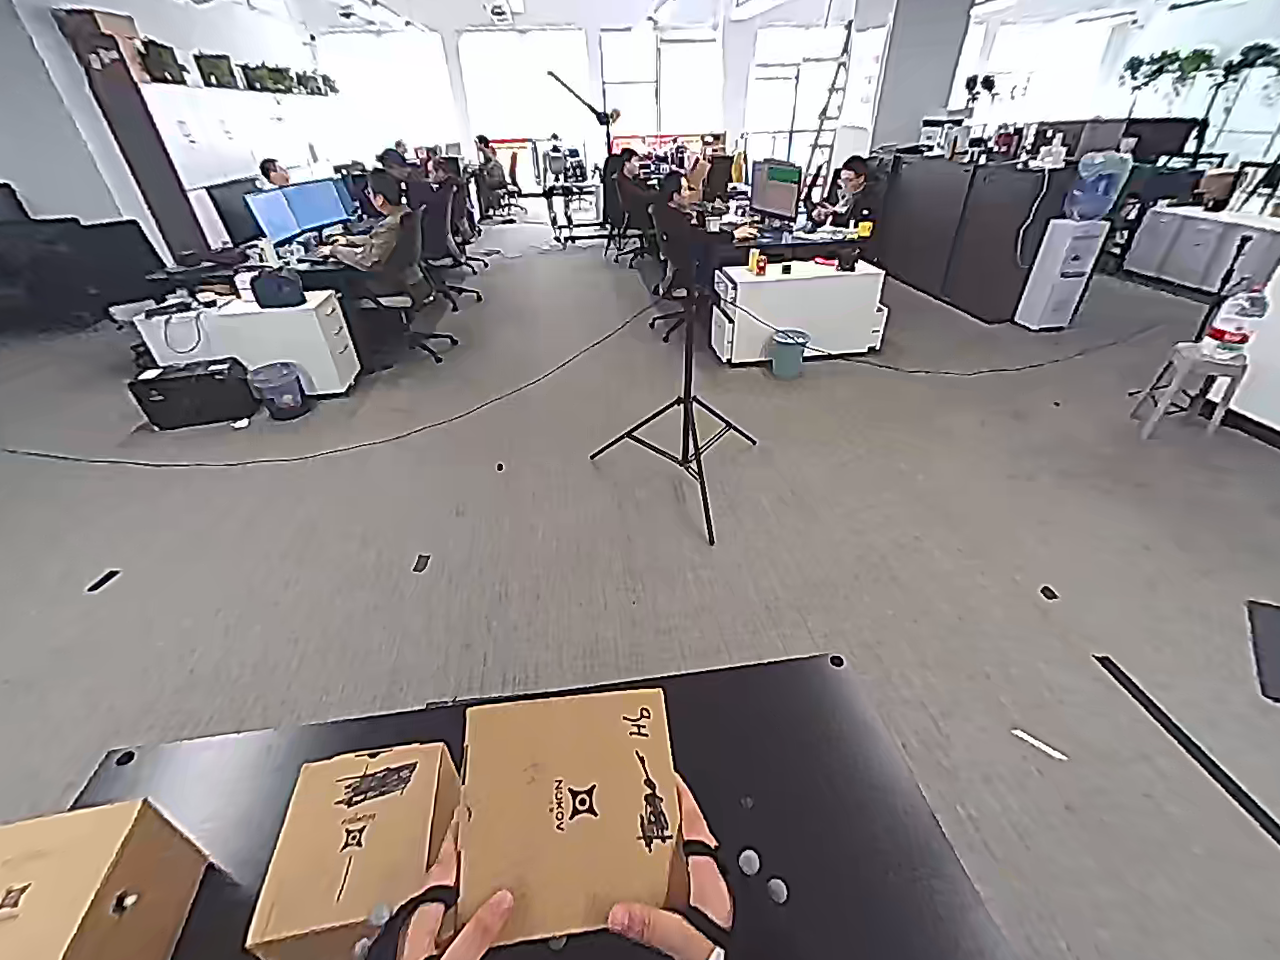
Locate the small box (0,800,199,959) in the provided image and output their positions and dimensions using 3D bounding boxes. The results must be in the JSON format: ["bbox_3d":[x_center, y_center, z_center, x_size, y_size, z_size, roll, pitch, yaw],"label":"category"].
[{"bbox_3d":[-0.630,0.490,0.582,0.168,0.176,0.179,-7,34,-10],"label":"small box"}]

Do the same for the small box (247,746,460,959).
[{"bbox_3d":[-0.303,0.448,0.630,0.168,0.176,0.179,-6,35,-7],"label":"small box"}]

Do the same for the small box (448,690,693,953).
[{"bbox_3d":[-0.060,0.301,0.488,0.179,0.176,0.168,-2,55,-8],"label":"small box"}]
